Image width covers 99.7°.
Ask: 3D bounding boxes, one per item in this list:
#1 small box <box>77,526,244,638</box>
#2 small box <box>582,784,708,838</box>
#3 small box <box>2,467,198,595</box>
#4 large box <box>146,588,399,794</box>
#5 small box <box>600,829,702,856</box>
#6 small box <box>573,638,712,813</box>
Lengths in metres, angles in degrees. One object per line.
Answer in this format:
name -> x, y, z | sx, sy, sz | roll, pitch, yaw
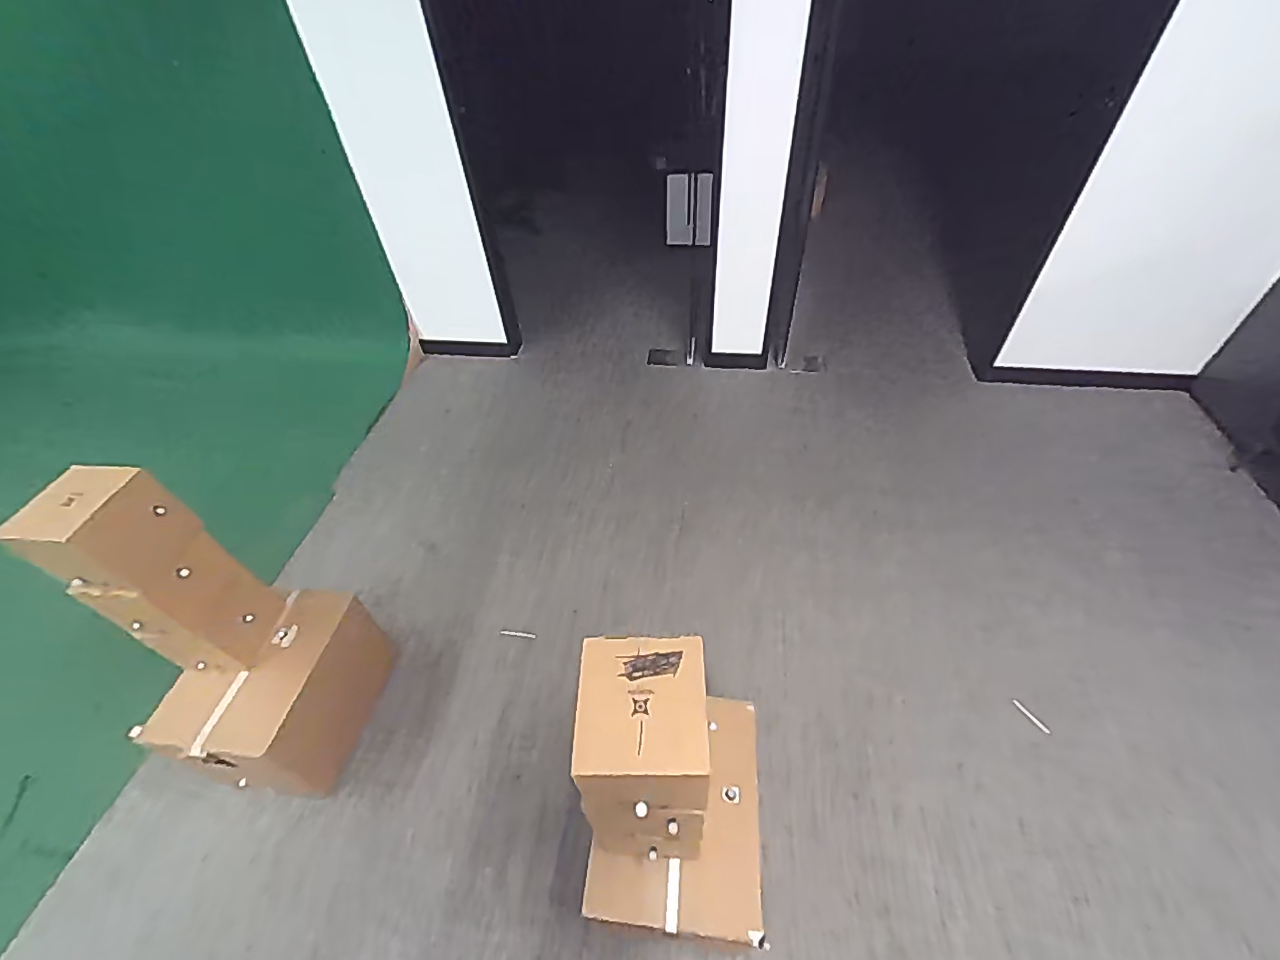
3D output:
small box -> -1.000, 0.213, 1.152 | 0.168, 0.176, 0.179 | 1, 48, 9
small box -> 0.016, 0.453, 0.858 | 0.179, 0.176, 0.168 | 0, 46, 6
small box -> -1.010, 0.097, 1.039 | 0.168, 0.176, 0.179 | 2, 48, 11
large box -> -0.900, 0.540, 1.397 | 0.320, 0.320, 0.408 | 3, 46, 8
small box -> 0.029, 0.565, 0.981 | 0.168, 0.176, 0.179 | 0, 47, 6
small box -> 0.009, 0.336, 0.743 | 0.168, 0.176, 0.179 | -2, 47, 4
